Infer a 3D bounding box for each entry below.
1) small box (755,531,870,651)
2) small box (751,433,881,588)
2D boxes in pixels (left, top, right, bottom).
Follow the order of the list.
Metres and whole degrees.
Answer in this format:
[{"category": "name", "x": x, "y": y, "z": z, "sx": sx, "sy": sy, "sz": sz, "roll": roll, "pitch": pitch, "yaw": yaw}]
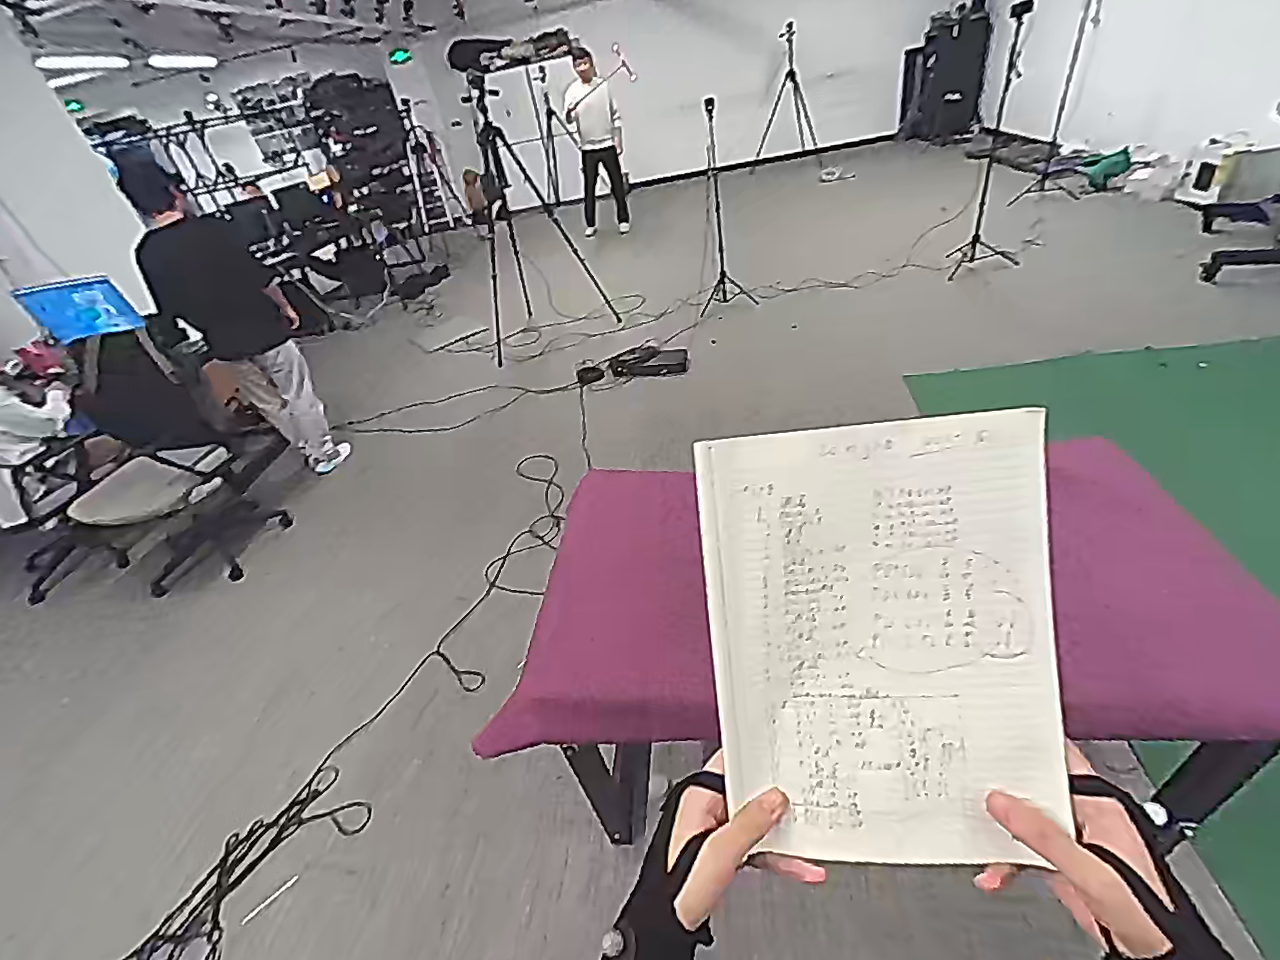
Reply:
[{"category": "small box", "x": 0.289, "y": 0.177, "z": 0.929, "sx": 0.168, "sy": 0.176, "sz": 0.179, "roll": -4, "pitch": 38, "yaw": 11}, {"category": "small box", "x": 0.260, "y": 0.051, "z": 0.826, "sx": 0.168, "sy": 0.176, "sz": 0.179, "roll": -4, "pitch": 36, "yaw": 11}]
